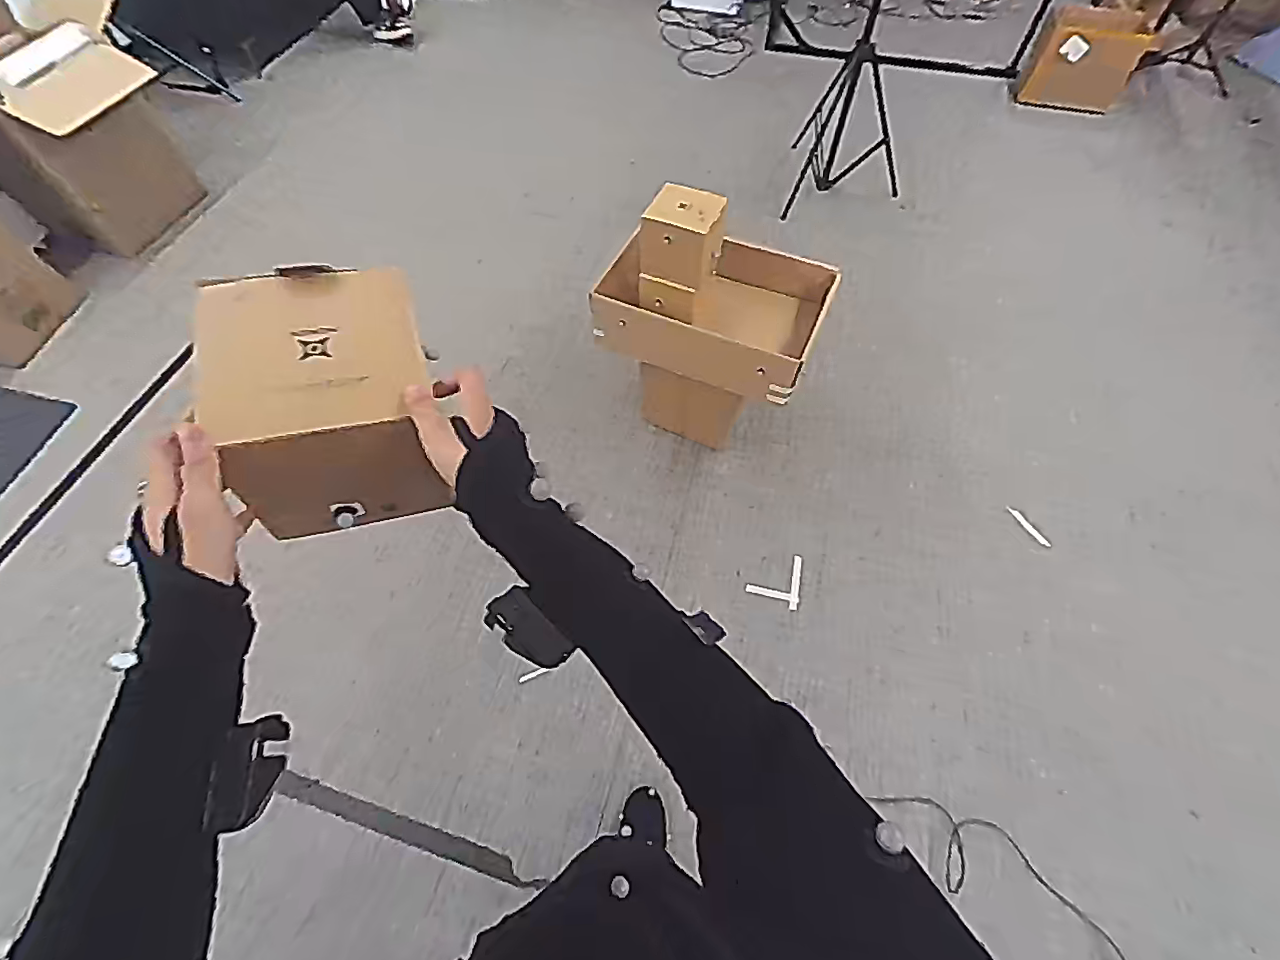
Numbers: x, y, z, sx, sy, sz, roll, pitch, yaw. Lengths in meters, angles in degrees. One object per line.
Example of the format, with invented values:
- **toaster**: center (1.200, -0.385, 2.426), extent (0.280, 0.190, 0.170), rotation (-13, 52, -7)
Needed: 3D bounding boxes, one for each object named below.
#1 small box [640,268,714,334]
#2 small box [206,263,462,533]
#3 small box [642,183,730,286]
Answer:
- **small box**: center (0.110, -0.553, 1.563), extent (0.168, 0.176, 0.179), rotation (21, 61, 11)
- **small box**: center (-0.269, -0.074, 0.506), extent (0.168, 0.176, 0.179), rotation (-12, 63, -19)
- **small box**: center (0.117, -0.642, 1.424), extent (0.179, 0.176, 0.168), rotation (22, 62, 12)
